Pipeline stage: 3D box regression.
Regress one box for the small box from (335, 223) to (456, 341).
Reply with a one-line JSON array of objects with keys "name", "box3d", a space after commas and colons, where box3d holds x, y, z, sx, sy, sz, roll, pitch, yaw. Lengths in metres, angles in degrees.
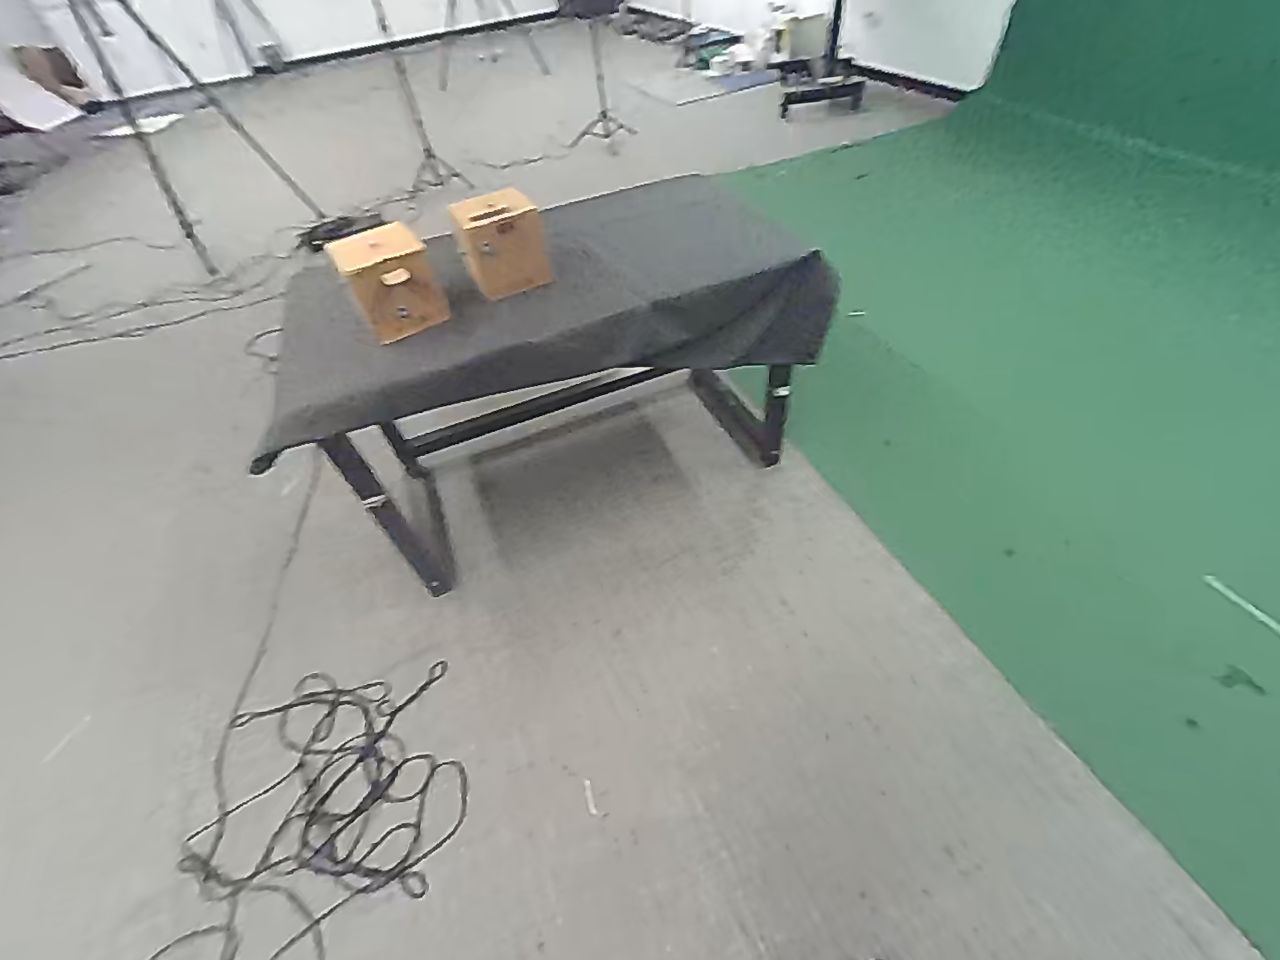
[{"name": "small box", "box3d": [-0.529, -0.432, 1.183, 0.168, 0.176, 0.179, -29, 51, -19]}]
